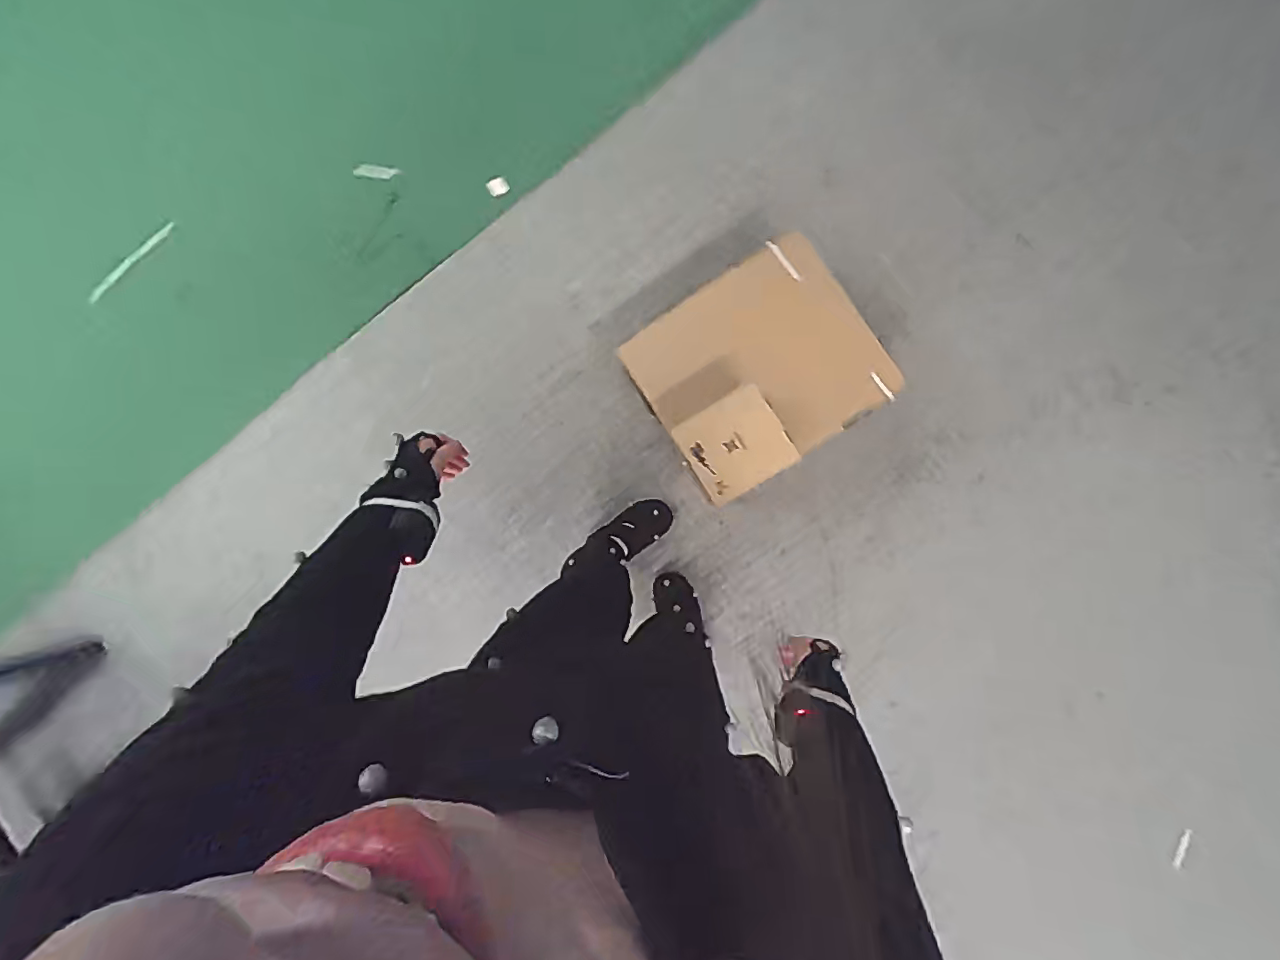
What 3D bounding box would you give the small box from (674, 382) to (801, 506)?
[{"bbox_3d":[0.178,-0.065,1.035,0.179,0.176,0.168,-29,87,5],"label":"small box"}]
